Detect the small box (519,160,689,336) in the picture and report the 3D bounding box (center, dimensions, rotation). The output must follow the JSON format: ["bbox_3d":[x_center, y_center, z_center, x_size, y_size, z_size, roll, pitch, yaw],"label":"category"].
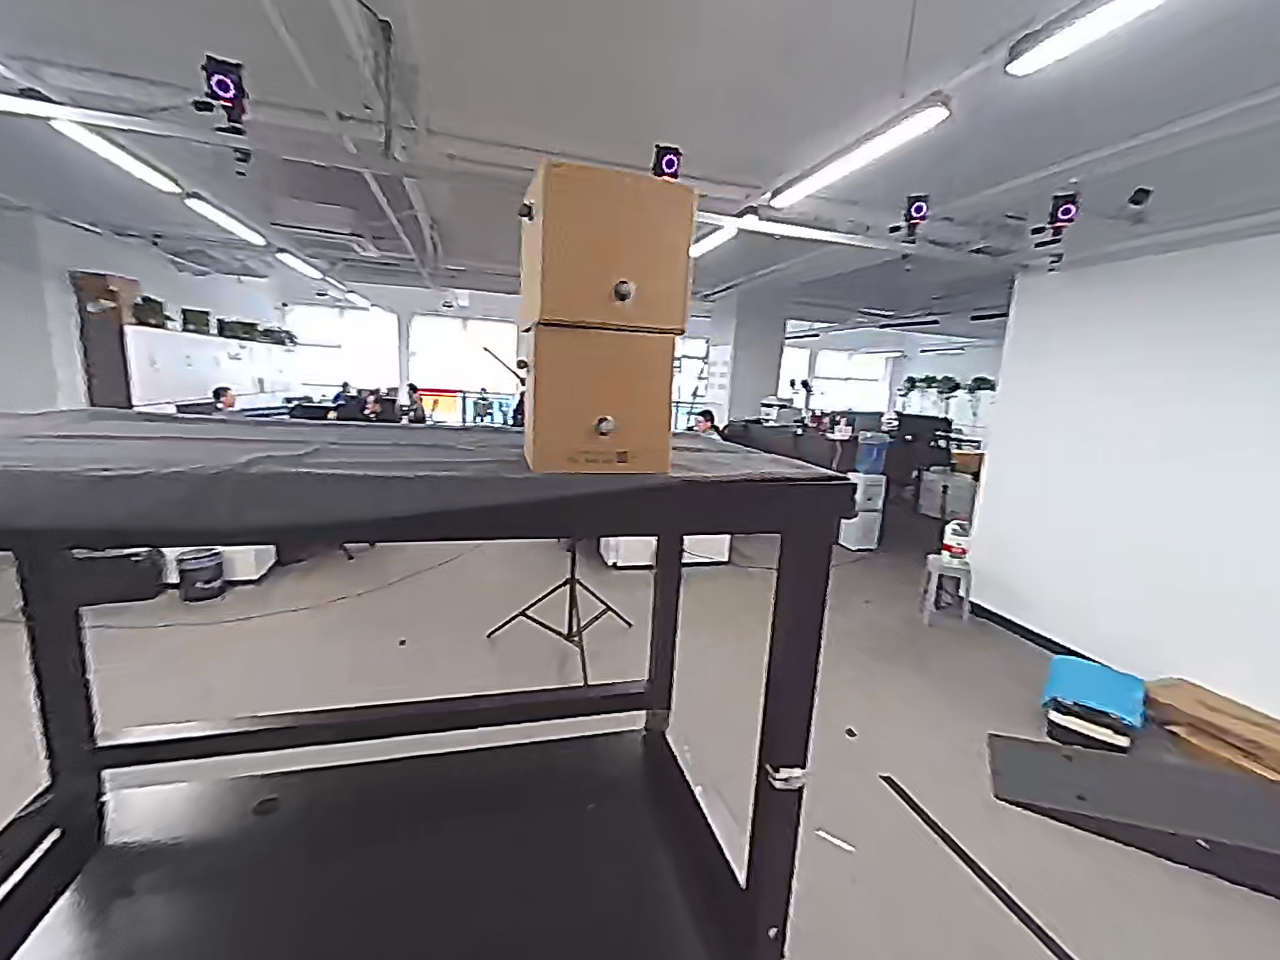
[{"bbox_3d":[-0.050,-0.267,0.664,0.179,0.176,0.168,0,9,-19],"label":"small box"}]

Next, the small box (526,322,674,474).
[{"bbox_3d":[-0.062,-0.104,0.703,0.168,0.176,0.179,-1,10,-15],"label":"small box"}]
